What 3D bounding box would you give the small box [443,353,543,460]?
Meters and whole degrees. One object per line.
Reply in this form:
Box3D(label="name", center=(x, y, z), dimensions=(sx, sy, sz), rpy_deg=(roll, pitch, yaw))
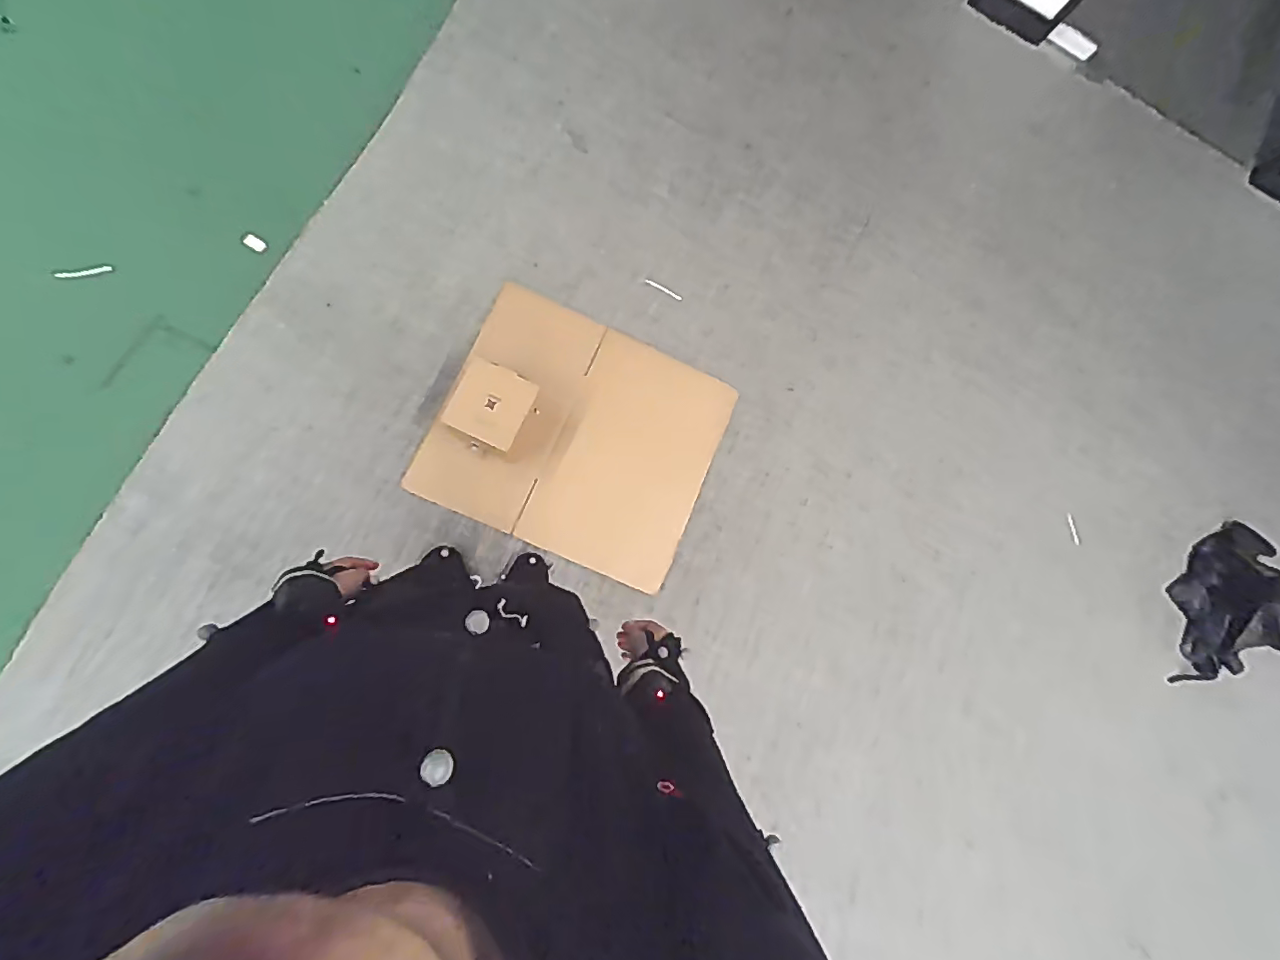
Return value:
Box3D(label="small box", center=(-0.343, -0.167, 1.288), dimensions=(0.168, 0.176, 0.179), rpy_deg=(25, 81, -5))
